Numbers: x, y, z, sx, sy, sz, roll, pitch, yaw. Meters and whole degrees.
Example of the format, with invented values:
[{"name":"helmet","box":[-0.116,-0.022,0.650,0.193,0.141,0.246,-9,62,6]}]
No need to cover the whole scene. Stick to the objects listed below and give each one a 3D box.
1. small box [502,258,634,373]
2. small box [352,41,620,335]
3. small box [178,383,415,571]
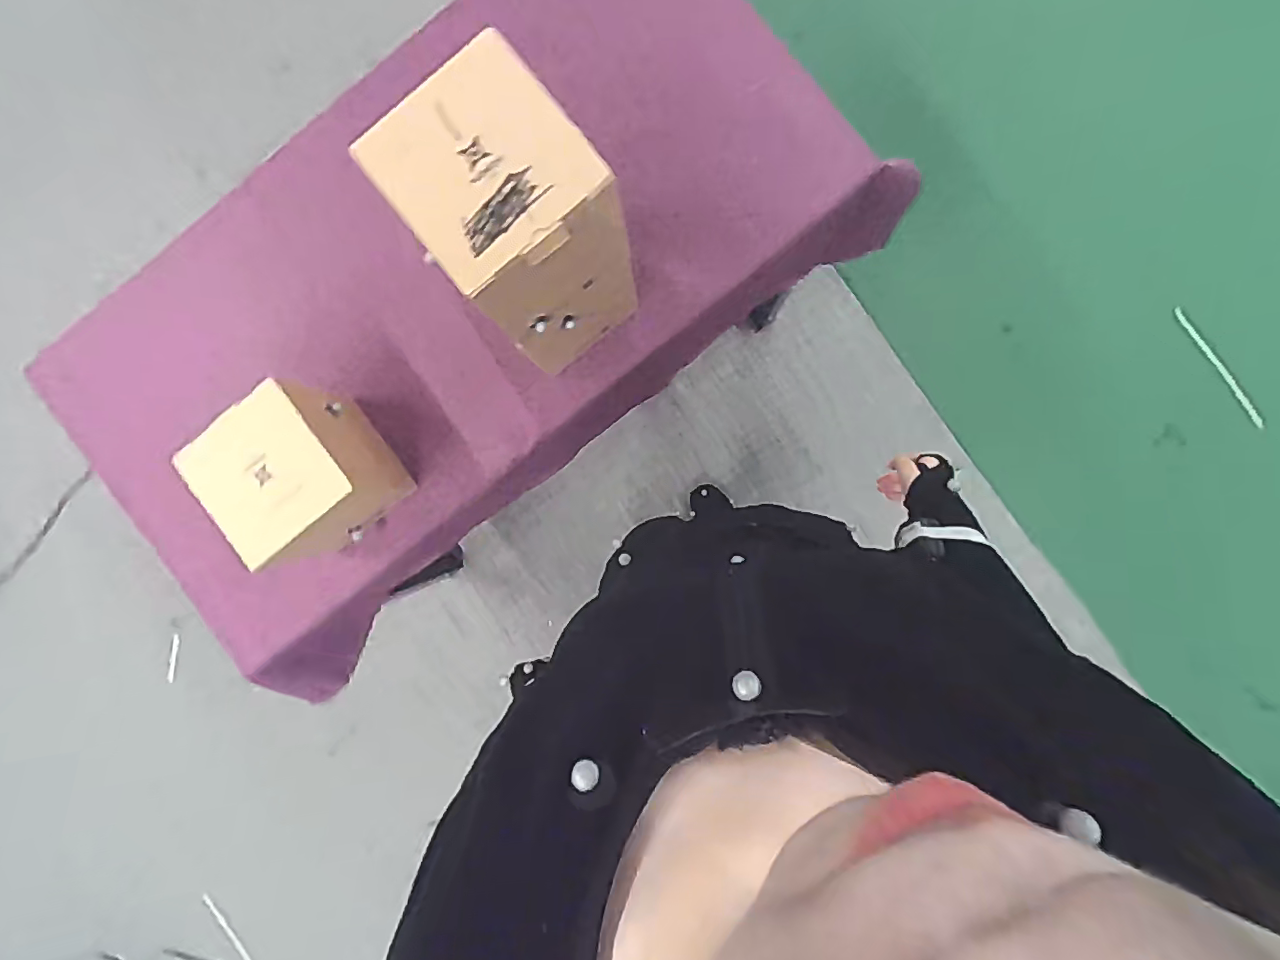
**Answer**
[{"name":"small box","box":[-0.126,-0.267,0.718,0.168,0.176,0.179,-39,86,4]},{"name":"small box","box":[-0.137,-0.270,0.554,0.168,0.176,0.179,-39,87,3]},{"name":"small box","box":[-0.452,-0.002,0.739,0.168,0.176,0.179,-38,88,3]}]
